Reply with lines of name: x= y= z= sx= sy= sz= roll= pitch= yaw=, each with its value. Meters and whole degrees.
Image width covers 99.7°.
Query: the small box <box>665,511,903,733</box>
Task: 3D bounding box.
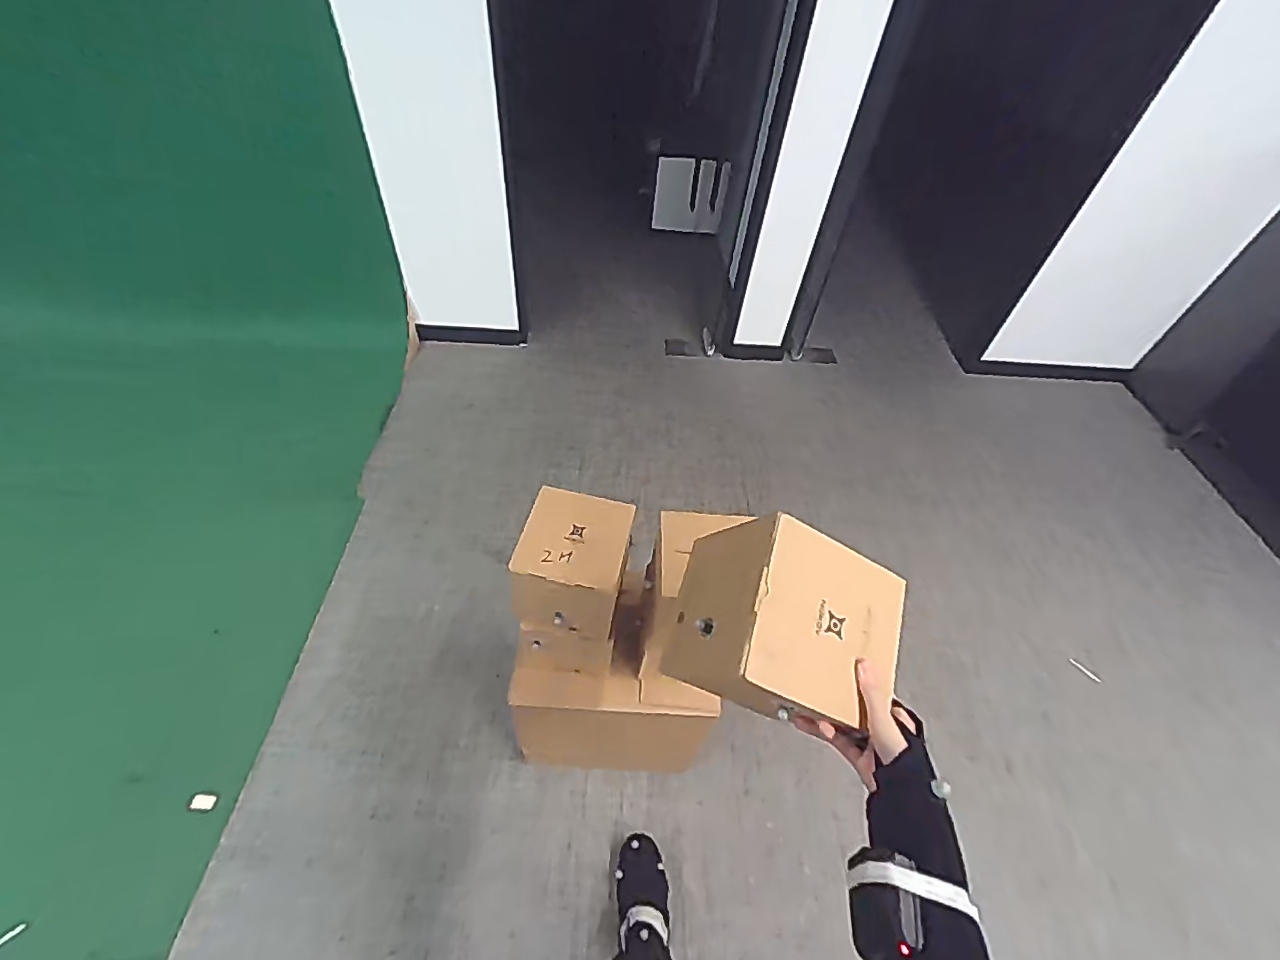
small box: x=0.151 y=0.159 z=0.596 sx=0.179 sy=0.176 sz=0.168 roll=28 pitch=65 yaw=-16

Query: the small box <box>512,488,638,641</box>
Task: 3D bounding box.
small box: x=-0.107 y=0.145 z=0.922 sx=0.168 sy=0.176 sz=0.179 roll=12 pitch=49 yaw=3
